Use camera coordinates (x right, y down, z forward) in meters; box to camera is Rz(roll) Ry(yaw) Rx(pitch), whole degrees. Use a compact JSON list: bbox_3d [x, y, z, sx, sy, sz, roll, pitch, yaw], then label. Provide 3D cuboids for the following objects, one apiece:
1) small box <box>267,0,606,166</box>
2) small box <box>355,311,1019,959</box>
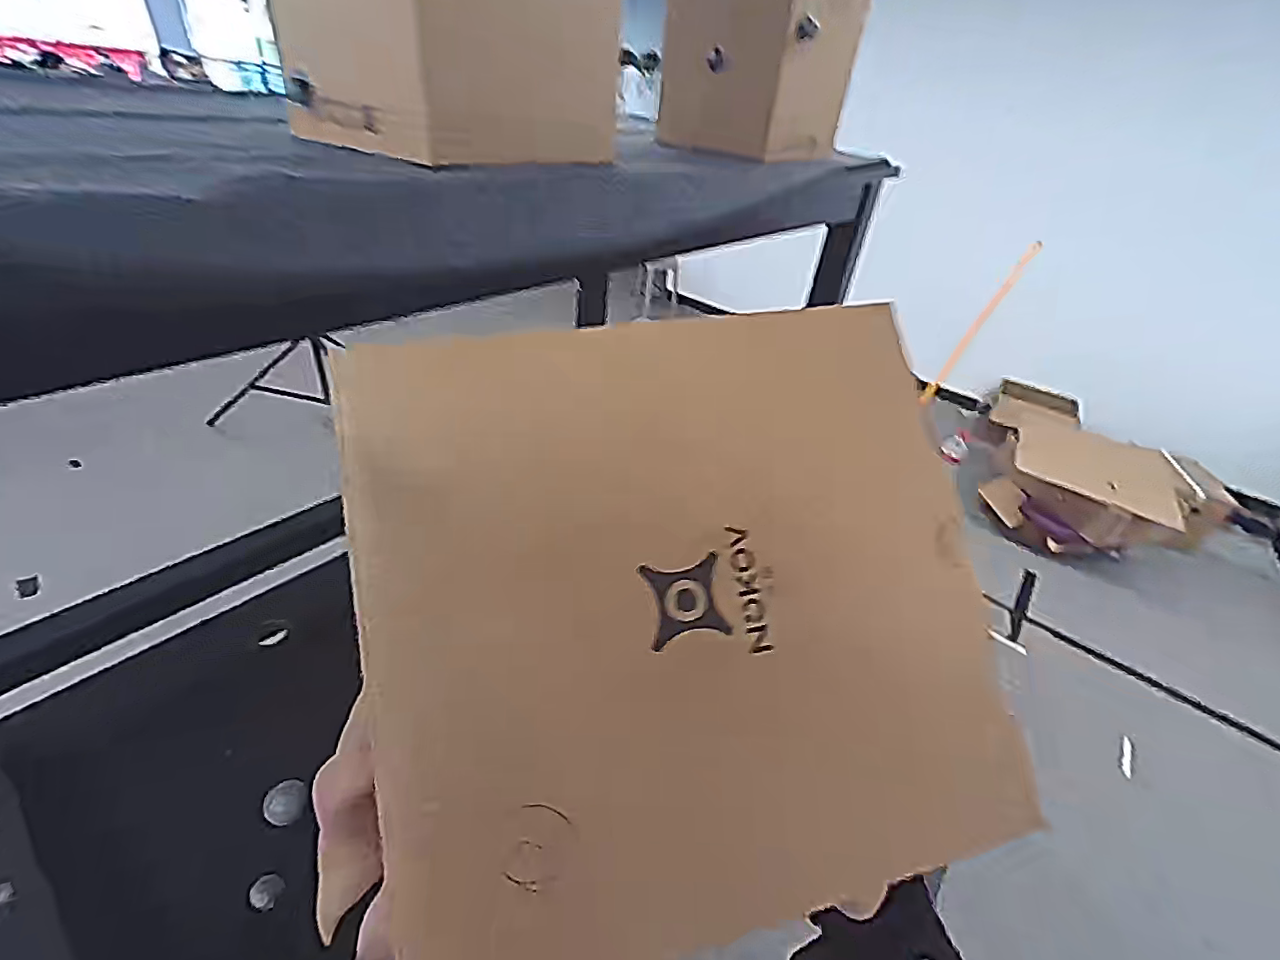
[{"bbox_3d":[-0.132,-0.320,0.371,0.168,0.176,0.179,26,39,26],"label":"small box"},{"bbox_3d":[0.003,0.048,0.236,0.179,0.176,0.168,-10,81,-13],"label":"small box"}]
